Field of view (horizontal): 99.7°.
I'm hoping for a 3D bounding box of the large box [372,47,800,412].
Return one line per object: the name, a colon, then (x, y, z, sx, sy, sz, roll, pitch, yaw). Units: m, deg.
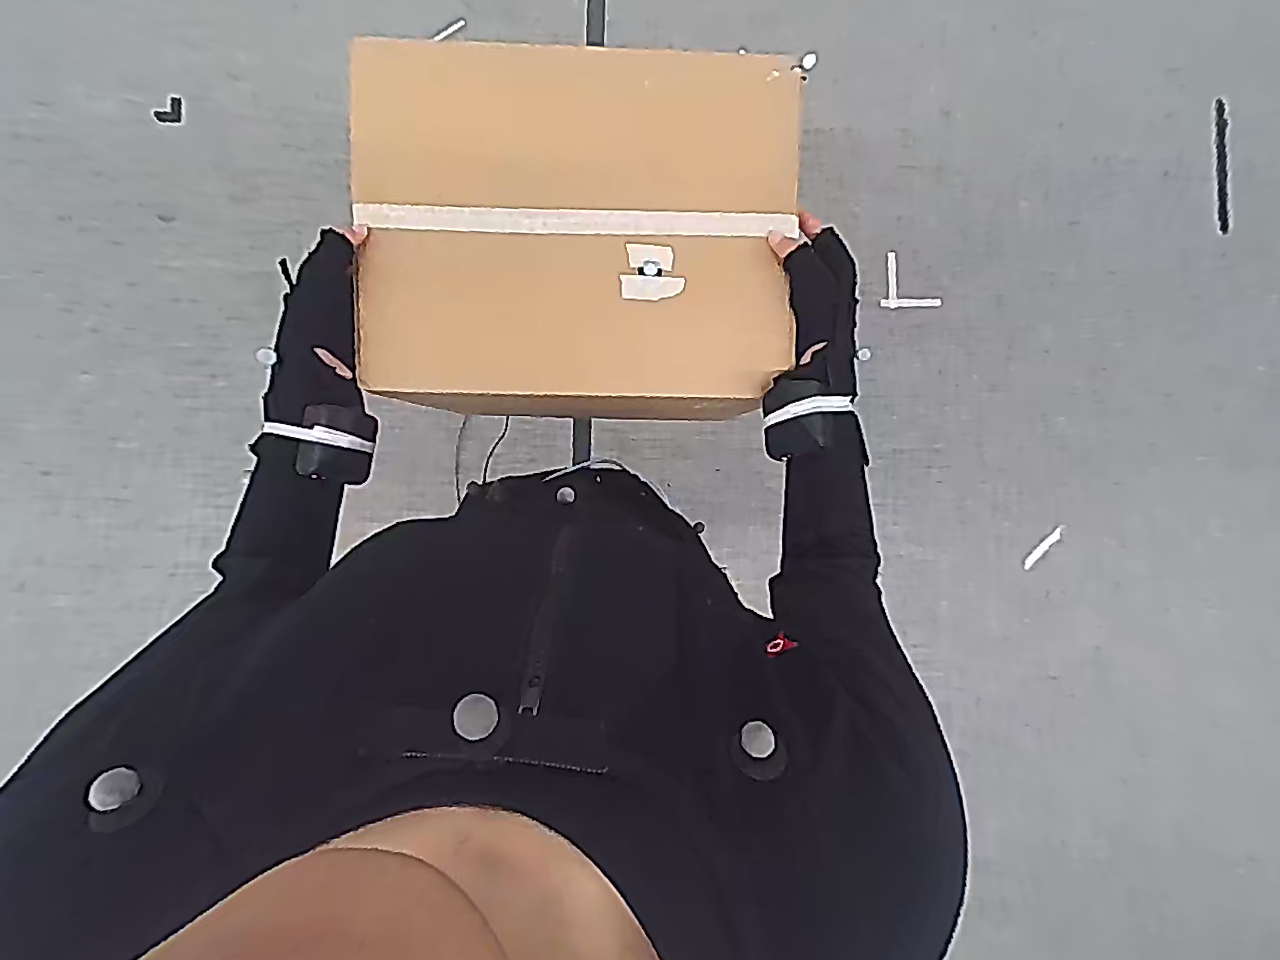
large box: (-0.057, -0.248, 0.657, 0.408, 0.320, 0.320, 1, 94, -3)
